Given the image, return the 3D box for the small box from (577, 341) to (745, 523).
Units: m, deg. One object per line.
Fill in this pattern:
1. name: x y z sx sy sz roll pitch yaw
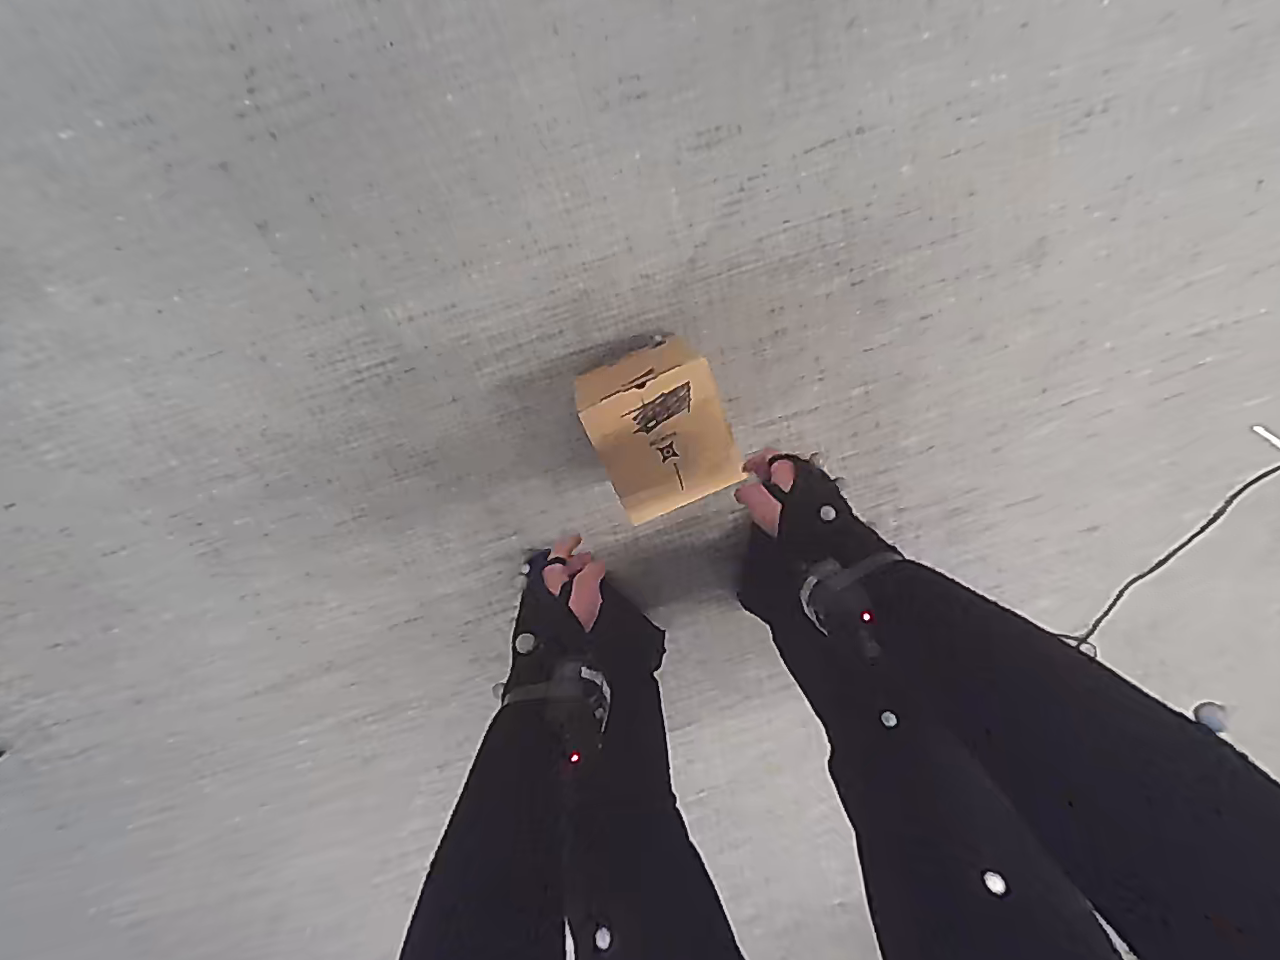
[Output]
1. small box: 0.020 -0.076 0.737 0.168 0.176 0.179 -23 116 3
